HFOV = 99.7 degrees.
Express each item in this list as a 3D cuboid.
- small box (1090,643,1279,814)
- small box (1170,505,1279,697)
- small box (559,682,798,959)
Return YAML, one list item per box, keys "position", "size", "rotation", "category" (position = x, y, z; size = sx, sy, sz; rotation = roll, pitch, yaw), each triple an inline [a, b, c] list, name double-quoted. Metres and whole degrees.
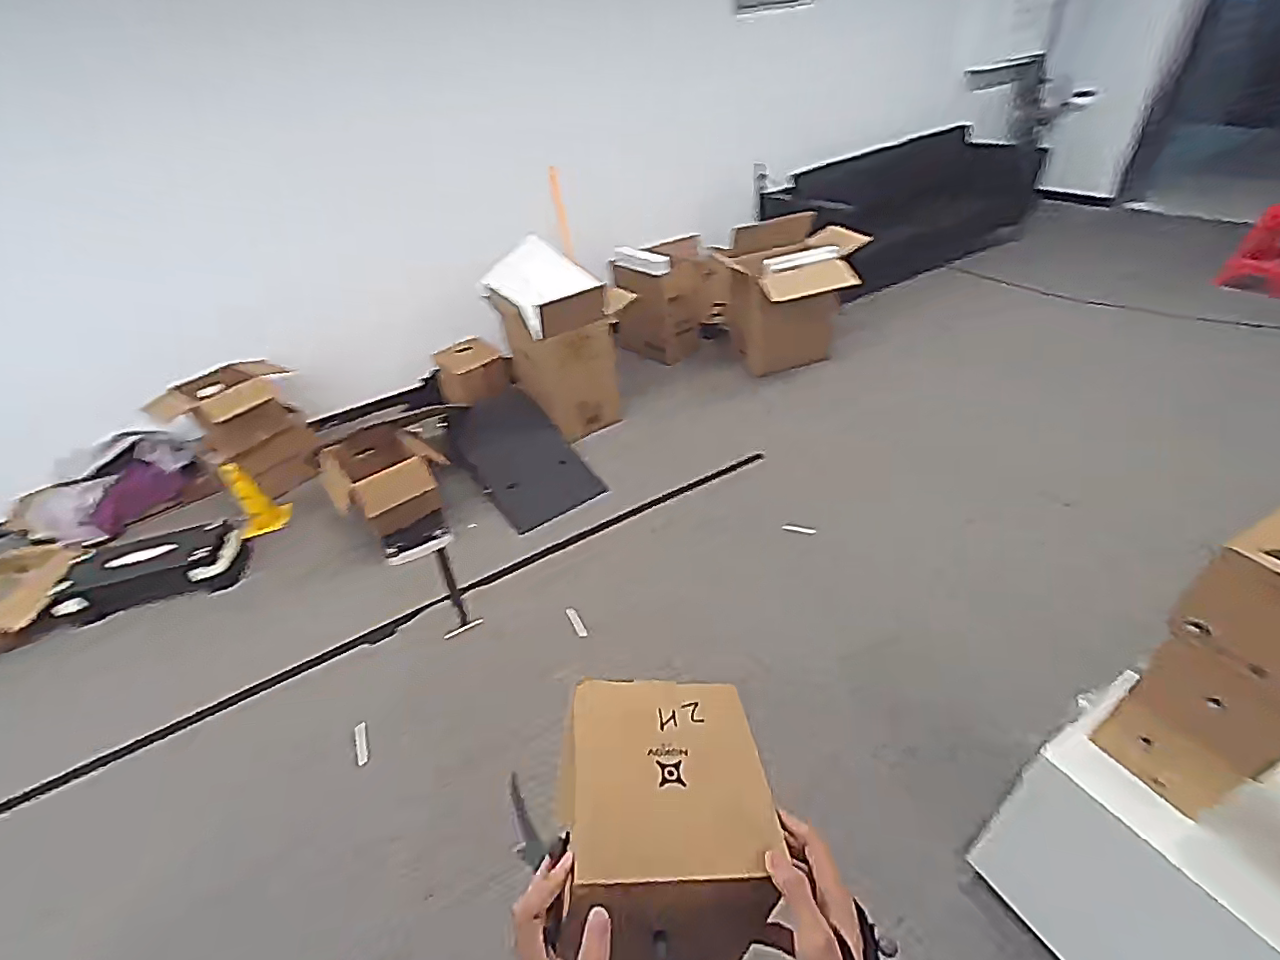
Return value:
- position: [0.916, 0.421, 0.917]
  size: [0.179, 0.176, 0.168]
  rotation: [-24, 41, -19]
  category: "small box"
- position: [0.870, 0.163, 0.718]
  size: [0.179, 0.176, 0.168]
  rotation: [-21, 40, -17]
  category: "small box"
- position: [0.018, 0.314, 0.495]
  size: [0.168, 0.176, 0.179]
  rotation: [6, 29, -10]
  category: "small box"
